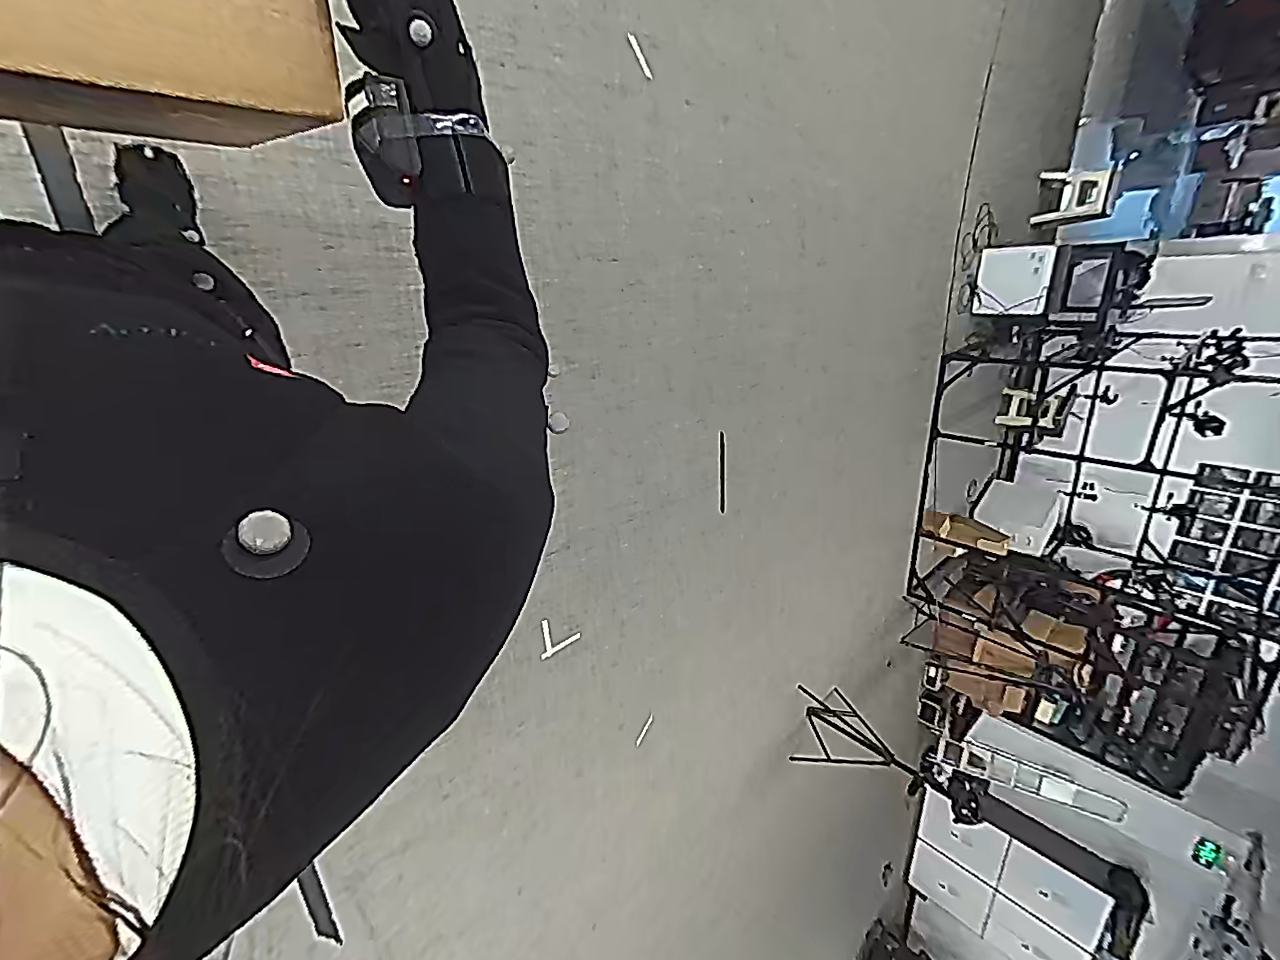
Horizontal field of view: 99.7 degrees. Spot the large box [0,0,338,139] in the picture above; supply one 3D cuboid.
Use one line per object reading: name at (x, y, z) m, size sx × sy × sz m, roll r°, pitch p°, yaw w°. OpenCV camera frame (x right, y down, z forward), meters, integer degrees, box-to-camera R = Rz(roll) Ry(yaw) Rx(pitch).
large box at (-0.447, -0.385, 0.277) m, size 0.408 × 0.320 × 0.320 m, roll -20°, pitch 125°, yaw -40°
